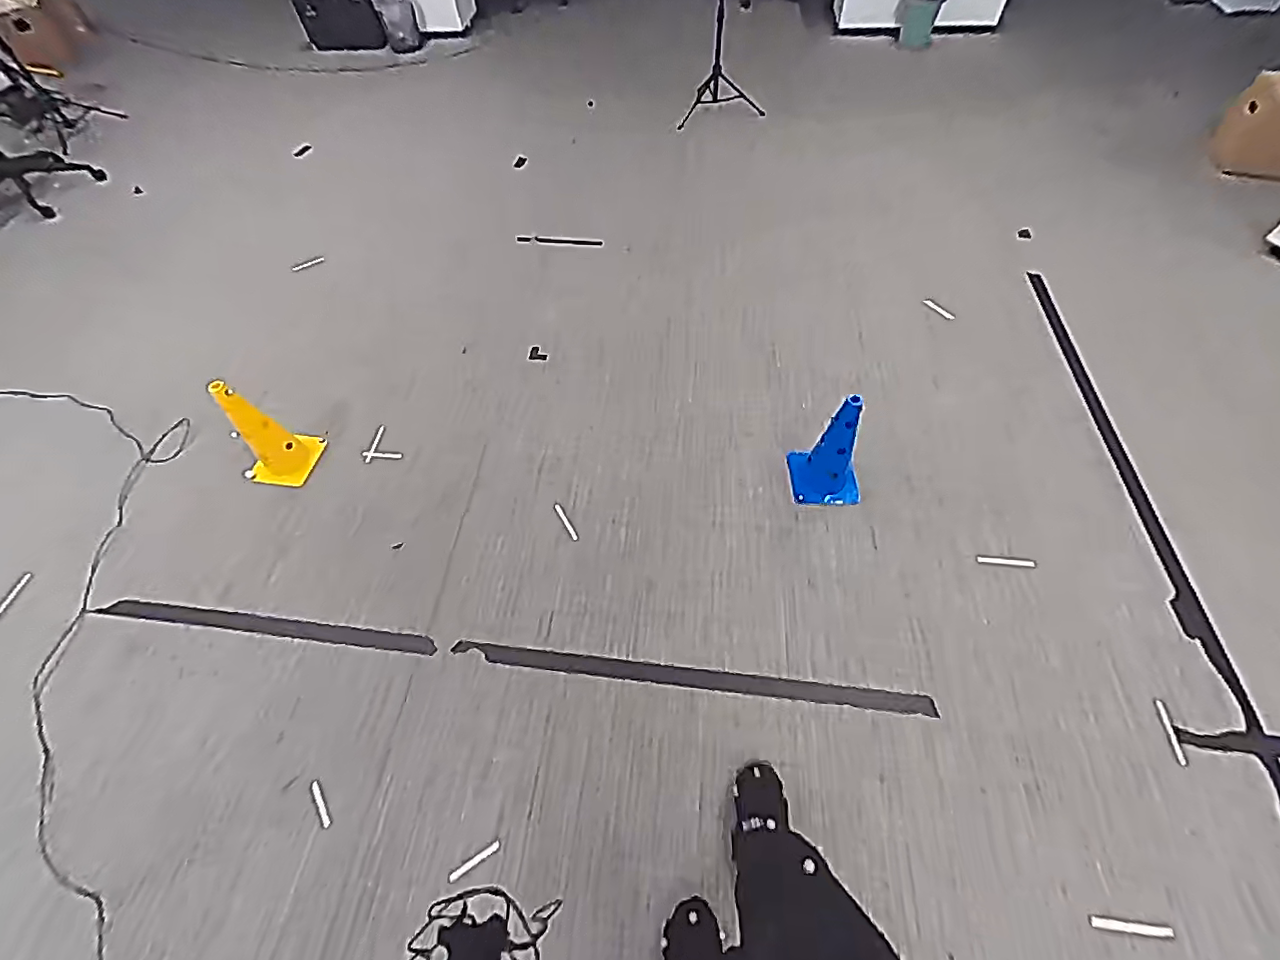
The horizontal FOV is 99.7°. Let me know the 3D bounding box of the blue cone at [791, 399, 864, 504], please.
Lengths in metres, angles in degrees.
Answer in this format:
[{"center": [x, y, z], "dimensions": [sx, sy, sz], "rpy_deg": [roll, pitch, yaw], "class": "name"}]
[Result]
[{"center": [0.567, -0.100, 1.550], "dimensions": [0.193, 0.380, 0.192], "rpy_deg": [0, 56, 3], "class": "blue cone"}]
